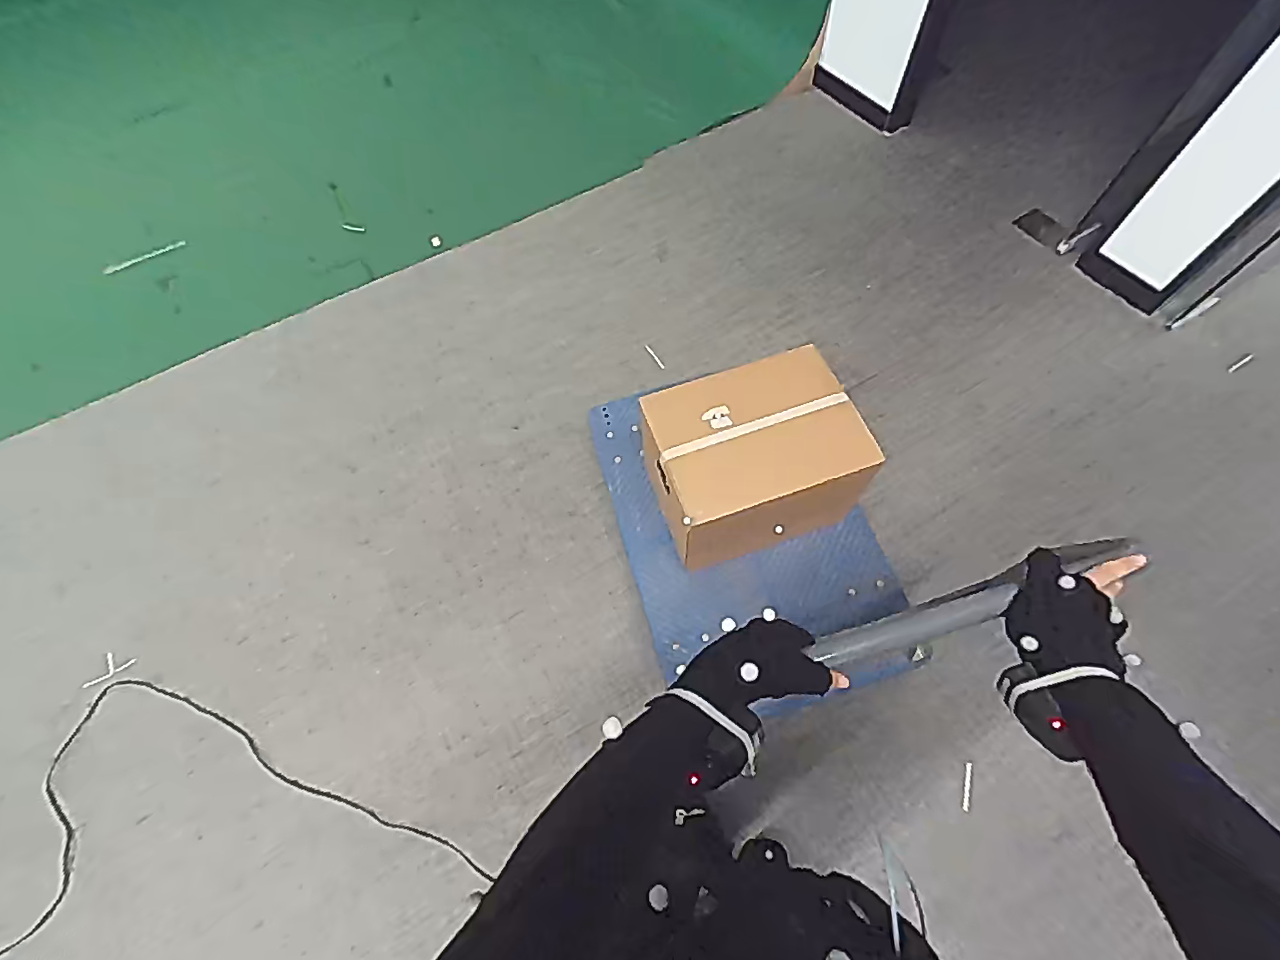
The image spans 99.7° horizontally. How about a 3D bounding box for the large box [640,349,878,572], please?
[{"bbox_3d":[0.244,-0.031,1.232,0.408,0.320,0.320,-19,63,-5],"label":"large box"}]
